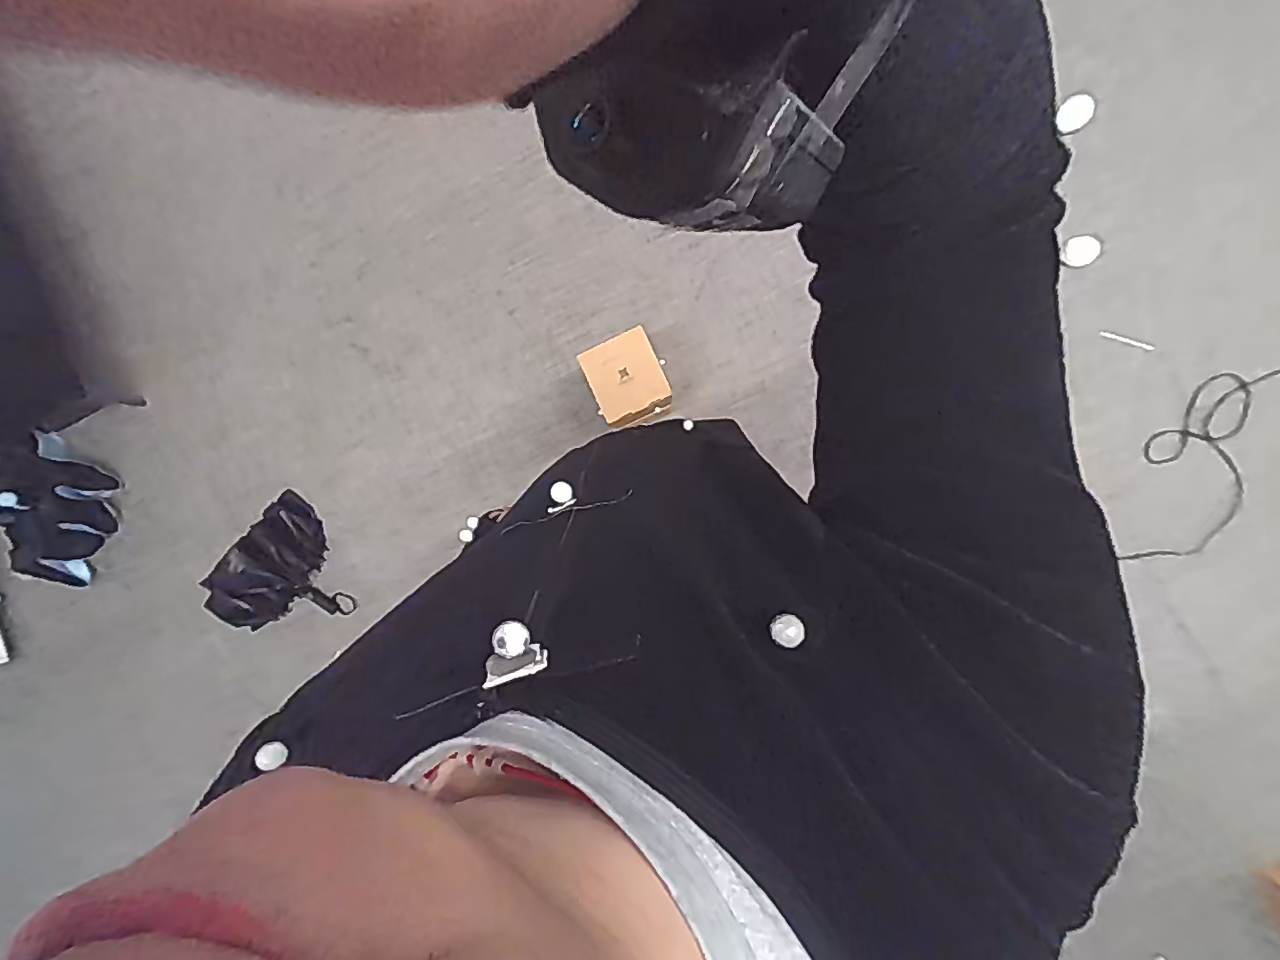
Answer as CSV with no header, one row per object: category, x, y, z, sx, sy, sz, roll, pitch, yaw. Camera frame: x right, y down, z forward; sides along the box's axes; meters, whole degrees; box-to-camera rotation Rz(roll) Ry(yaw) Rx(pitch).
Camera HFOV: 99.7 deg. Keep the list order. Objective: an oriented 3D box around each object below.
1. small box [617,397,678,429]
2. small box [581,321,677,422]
small box,-0.006,-0.248,1.458,0.168,0.176,0.179,-24,90,6
small box,-0.018,-0.248,1.297,0.168,0.176,0.179,-26,89,4
